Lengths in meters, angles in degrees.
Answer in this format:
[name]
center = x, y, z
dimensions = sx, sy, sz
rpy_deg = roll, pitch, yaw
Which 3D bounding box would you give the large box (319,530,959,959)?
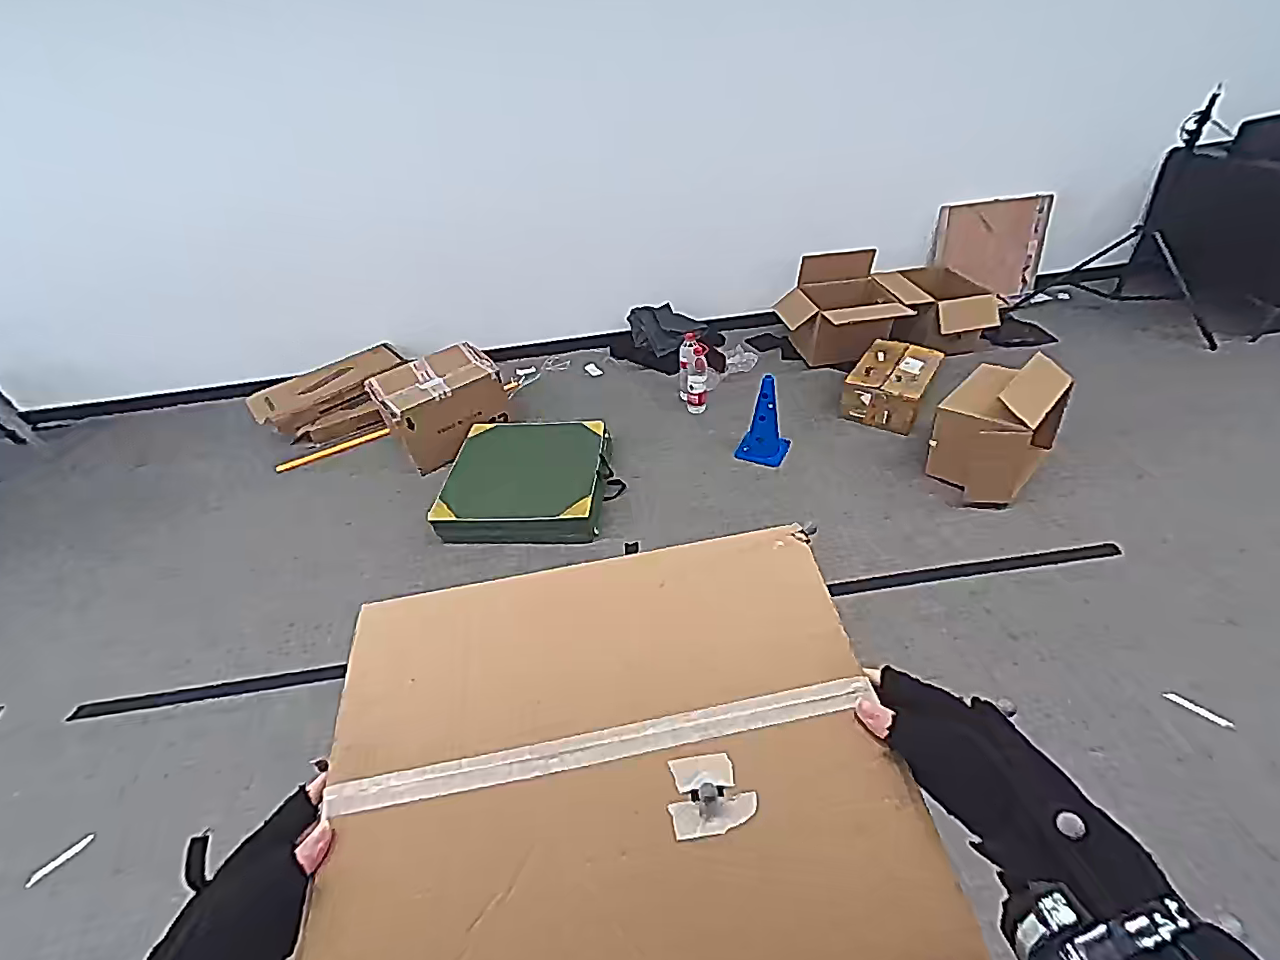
[large box]
center = -0.014, 0.292, 0.524
dimensions = 0.408, 0.320, 0.320
rpy_deg = -10, 51, -3
